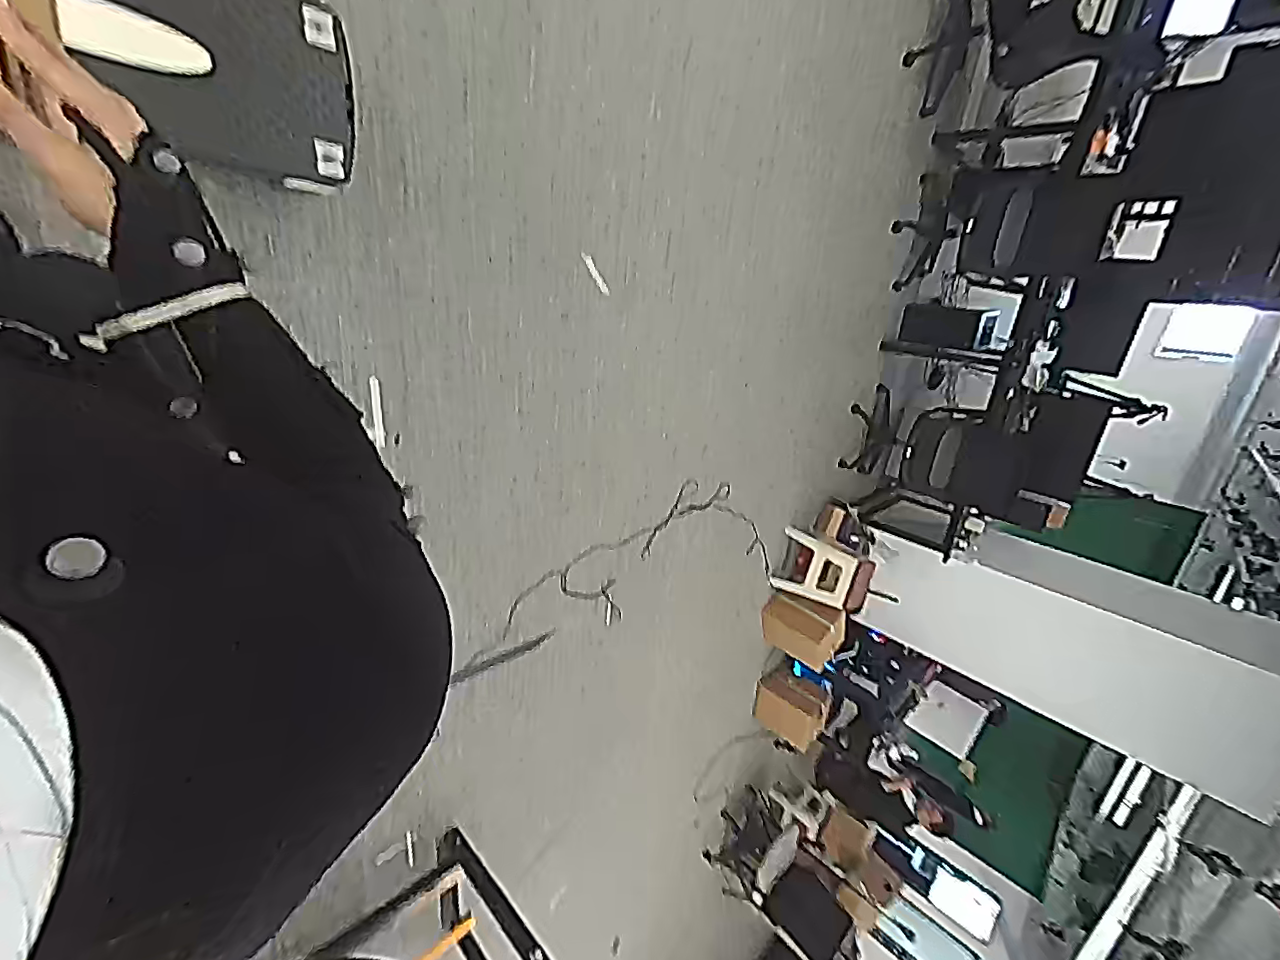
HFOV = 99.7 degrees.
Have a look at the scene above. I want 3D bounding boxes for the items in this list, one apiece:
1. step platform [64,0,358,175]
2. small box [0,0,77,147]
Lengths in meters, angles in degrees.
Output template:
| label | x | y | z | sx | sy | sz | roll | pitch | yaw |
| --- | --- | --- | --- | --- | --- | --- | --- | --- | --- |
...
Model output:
| label | x | y | z | sx | sy | sz | roll | pitch | yaw |
| --- | --- | --- | --- | --- | --- | --- | --- | --- | --- |
| step platform | -0.797 | -0.679 | 0.794 | 0.684 | 0.204 | 0.286 | -13 | 117 | -44 |
| small box | -0.452 | -0.311 | 0.296 | 0.168 | 0.176 | 0.179 | -4 | 112 | -35 |
